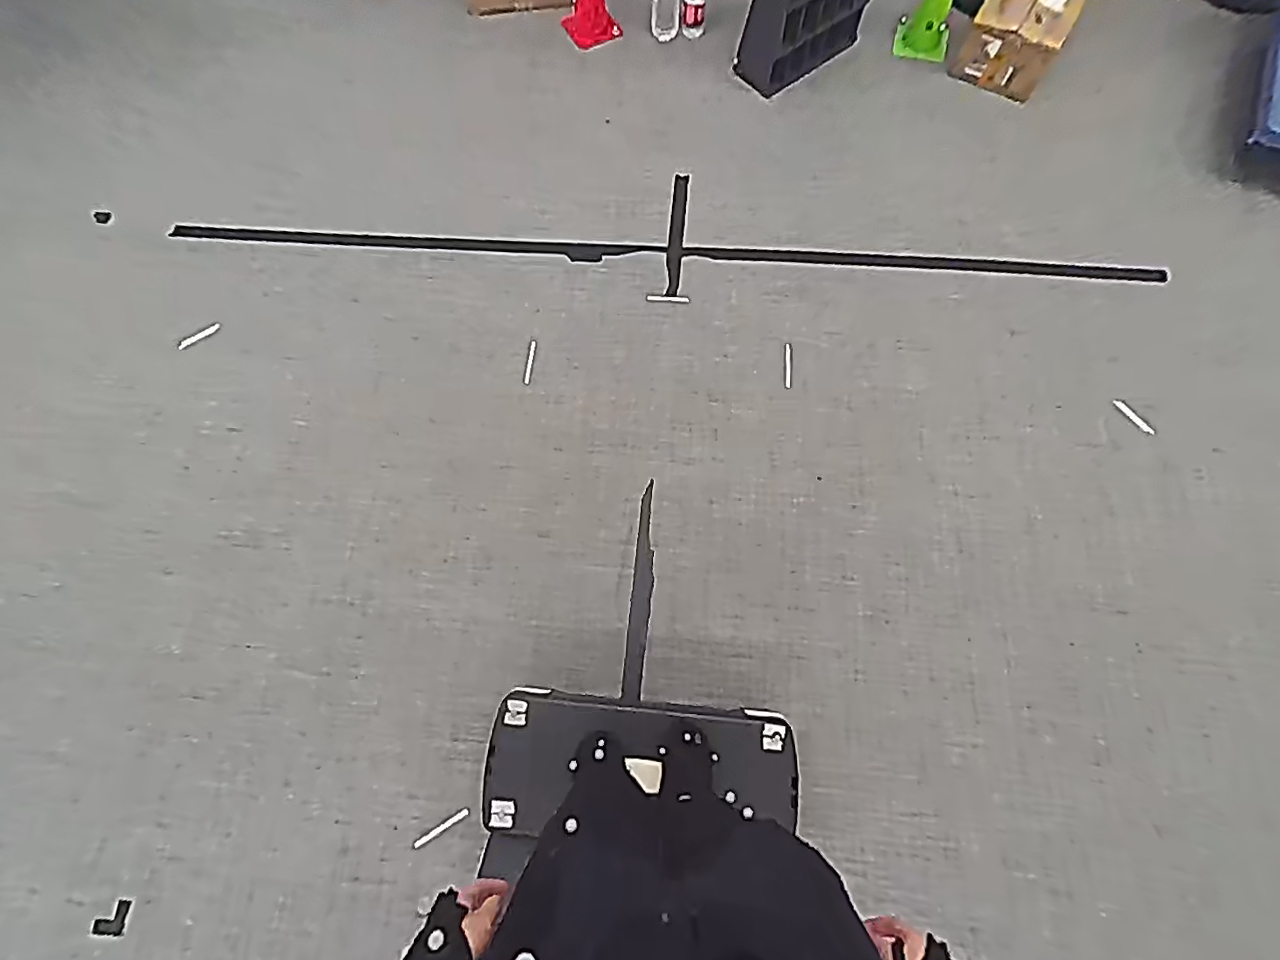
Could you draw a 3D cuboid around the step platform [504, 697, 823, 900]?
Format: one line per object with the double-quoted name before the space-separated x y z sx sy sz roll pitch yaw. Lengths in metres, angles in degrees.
"step platform" 0.050 0.690 1.210 0.684 0.204 0.286 9 70 4
